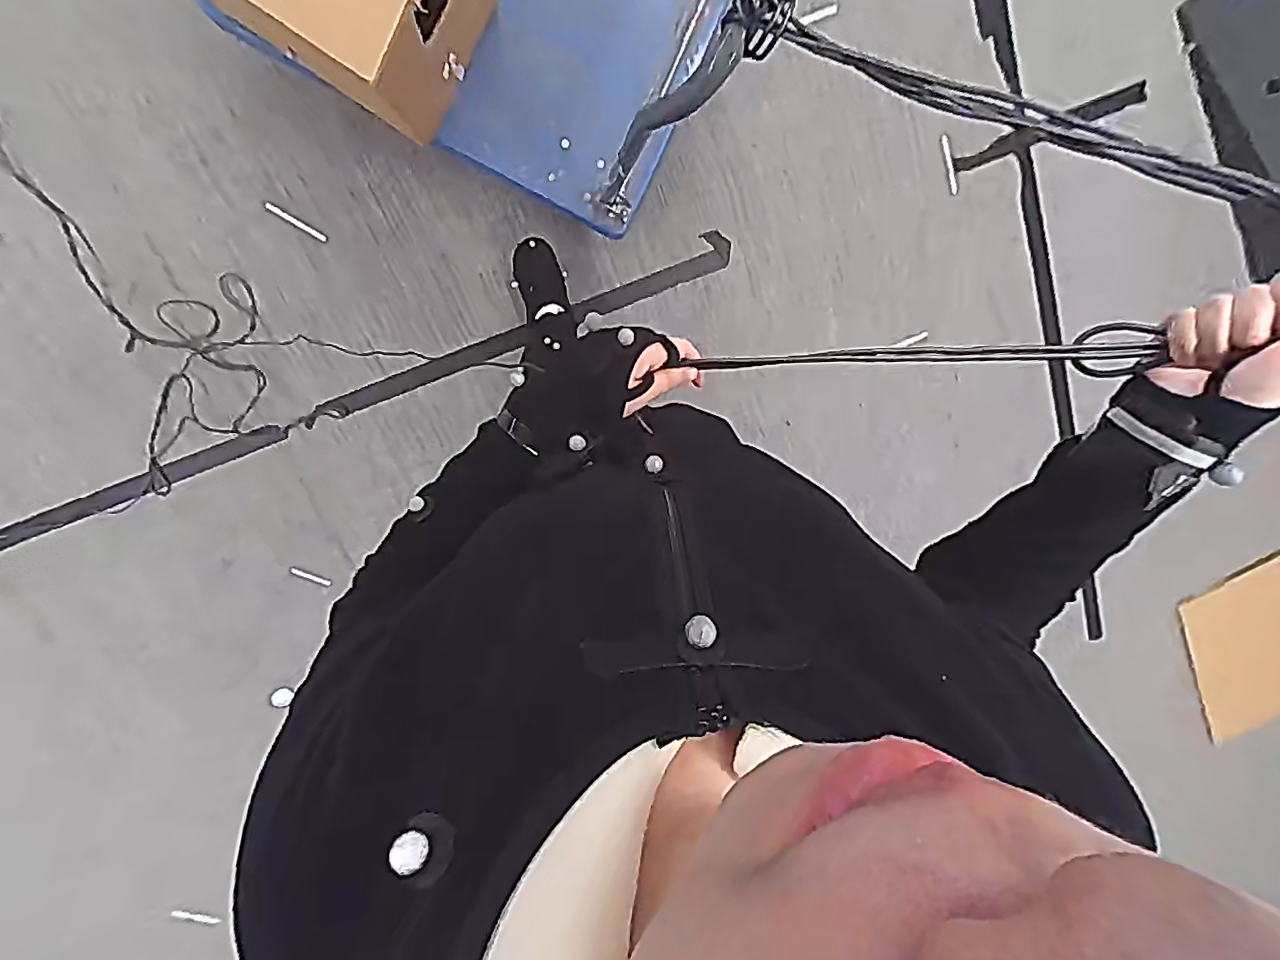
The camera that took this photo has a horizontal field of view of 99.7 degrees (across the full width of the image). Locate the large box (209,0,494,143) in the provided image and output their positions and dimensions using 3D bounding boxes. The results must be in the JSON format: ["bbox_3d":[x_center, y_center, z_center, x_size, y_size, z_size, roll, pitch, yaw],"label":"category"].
[{"bbox_3d":[-0.494,-0.839,0.861,0.408,0.320,0.320,29,100,-13],"label":"large box"}]
